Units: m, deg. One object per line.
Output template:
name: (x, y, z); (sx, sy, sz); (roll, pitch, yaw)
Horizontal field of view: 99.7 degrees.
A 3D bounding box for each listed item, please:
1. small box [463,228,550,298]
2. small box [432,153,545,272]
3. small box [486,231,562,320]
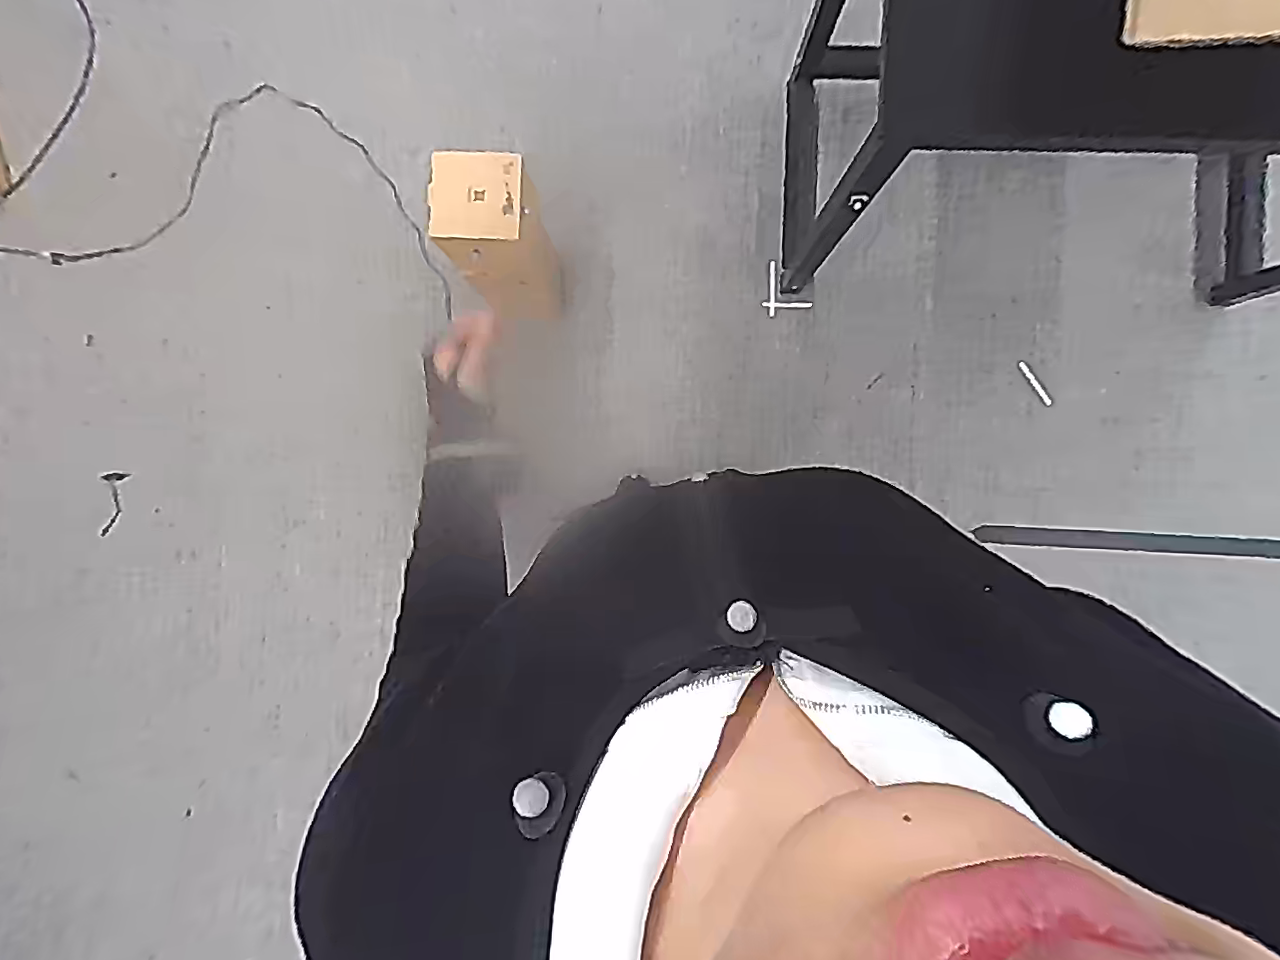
small box: (-0.312, -0.541, 1.273); (0.168, 0.176, 0.179); (-5, 89, 1)
small box: (-0.304, -0.538, 1.108); (0.179, 0.176, 0.168); (2, 90, 2)
small box: (-0.303, -0.536, 1.434); (0.168, 0.176, 0.179); (-1, 91, 2)
